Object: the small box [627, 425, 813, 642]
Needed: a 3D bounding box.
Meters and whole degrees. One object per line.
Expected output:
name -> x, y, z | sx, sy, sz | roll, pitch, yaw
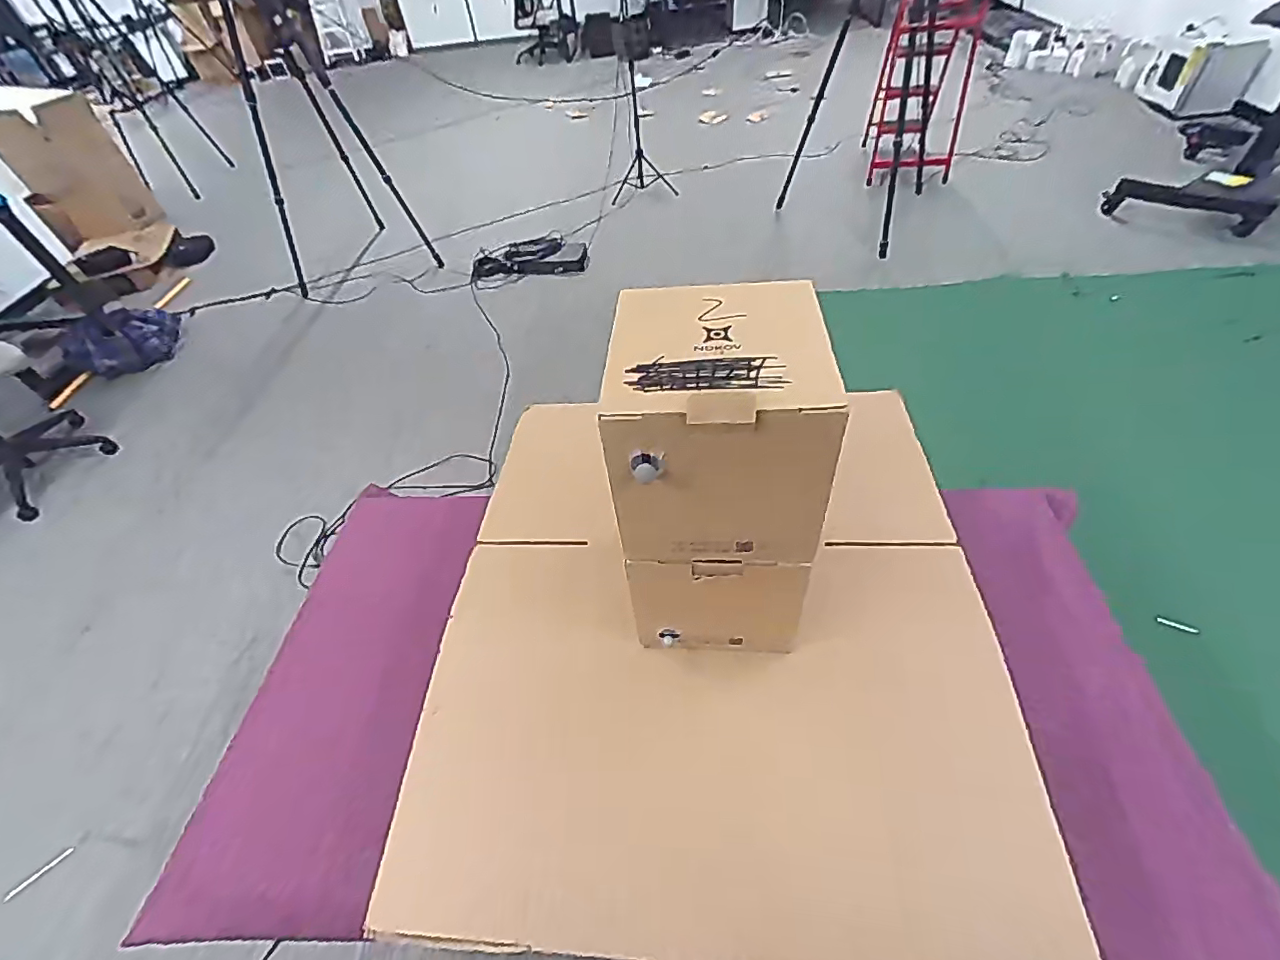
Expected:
small box -> 0.080, 0.064, 0.584 | 0.168, 0.176, 0.179 | -2, 49, 5
